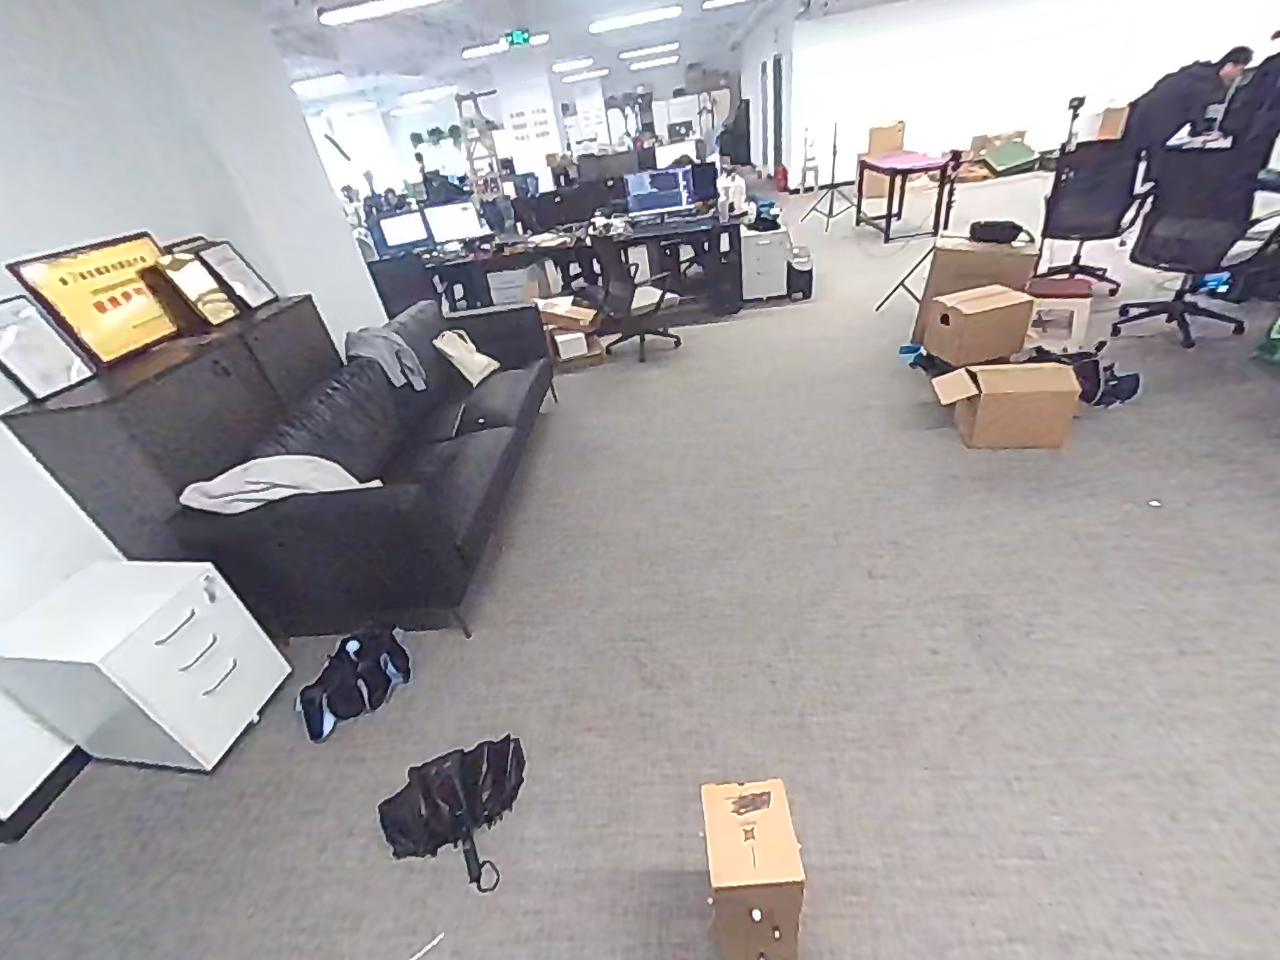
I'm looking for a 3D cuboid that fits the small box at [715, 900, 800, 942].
[{"bbox_3d":[0.243,0.855,1.155,0.168,0.176,0.179,-5,33,6],"label":"small box"}]

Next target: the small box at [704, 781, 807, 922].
[{"bbox_3d":[0.219,0.725,1.058,0.168,0.176,0.179,-7,35,3],"label":"small box"}]
